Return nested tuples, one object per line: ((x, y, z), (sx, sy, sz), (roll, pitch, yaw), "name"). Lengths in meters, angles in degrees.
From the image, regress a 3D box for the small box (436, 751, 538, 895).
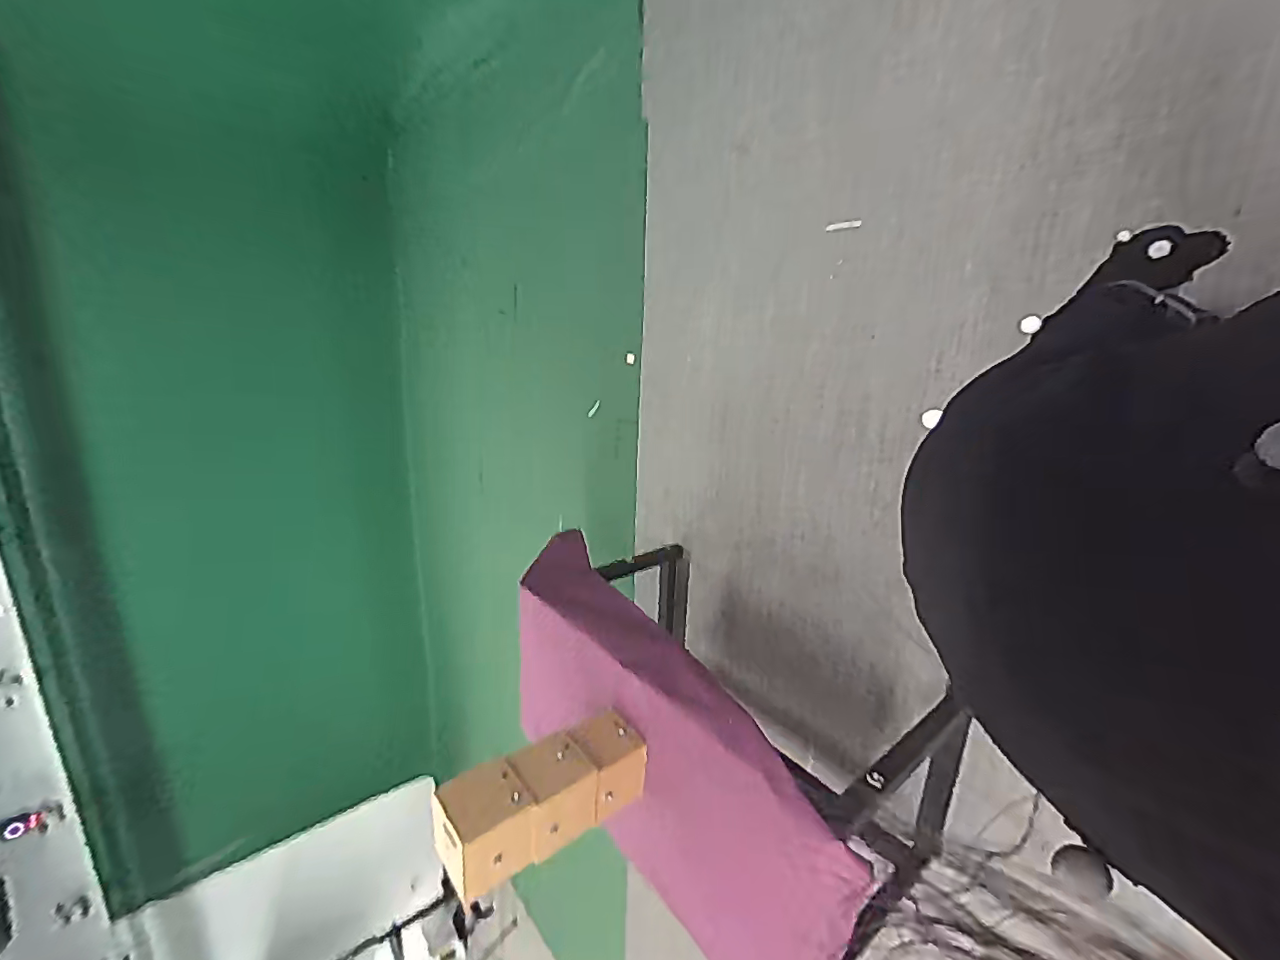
((-0.340, 0.750, 1.207), (0.168, 0.176, 0.179), (25, 118, 45), "small box")

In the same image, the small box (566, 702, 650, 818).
((-0.091, 0.726, 1.421), (0.168, 0.176, 0.179), (26, 117, 45), "small box")

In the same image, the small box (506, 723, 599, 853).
((-0.212, 0.736, 1.310), (0.168, 0.176, 0.179), (23, 116, 45), "small box")
